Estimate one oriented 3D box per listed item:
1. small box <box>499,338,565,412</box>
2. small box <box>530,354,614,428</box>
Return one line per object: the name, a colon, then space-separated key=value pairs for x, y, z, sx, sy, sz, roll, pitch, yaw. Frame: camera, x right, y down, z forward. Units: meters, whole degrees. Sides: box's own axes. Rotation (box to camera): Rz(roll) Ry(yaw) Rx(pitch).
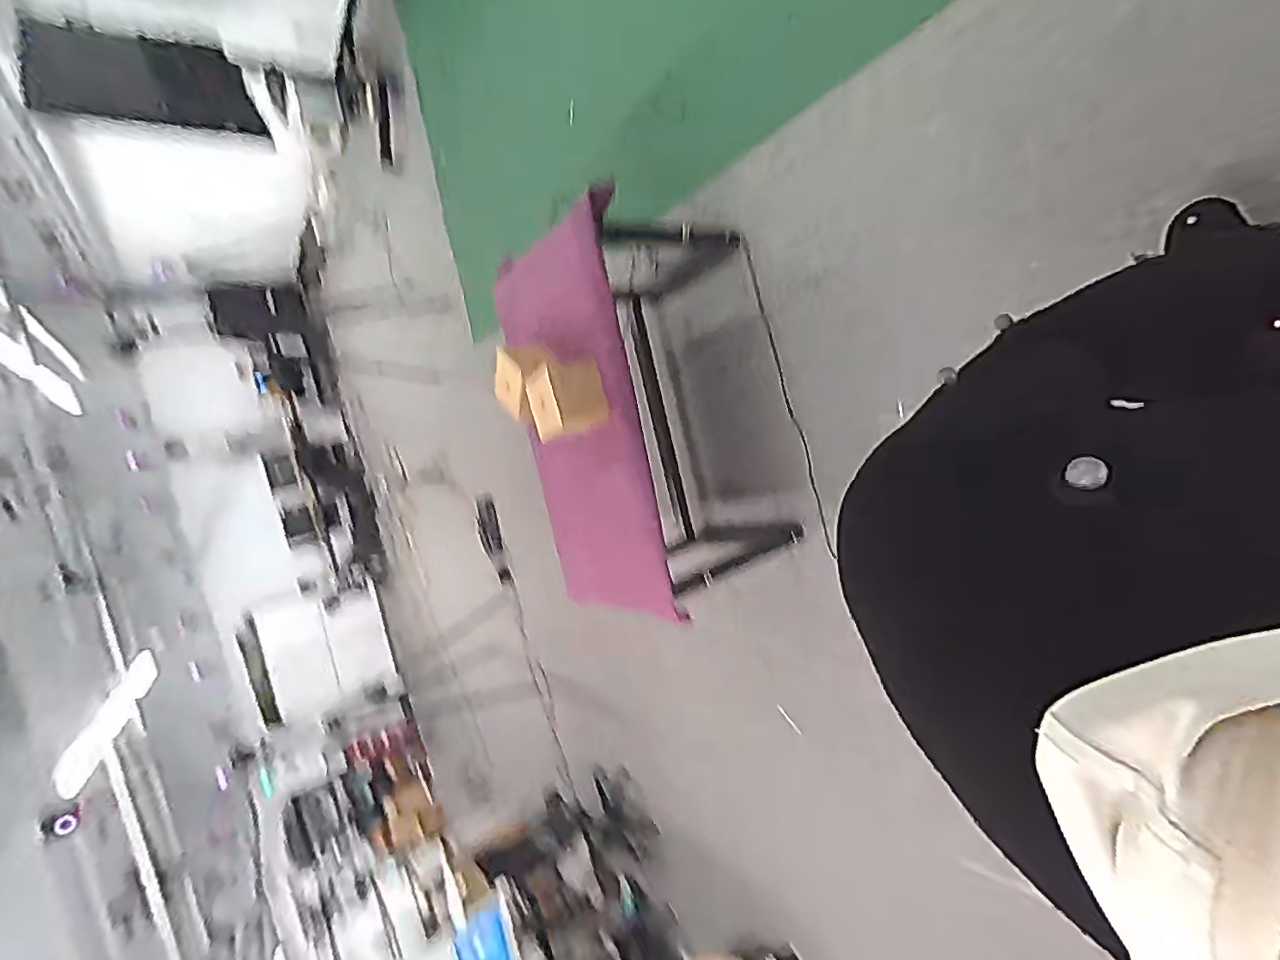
small box: x=-0.346 y=-0.353 z=1.784 sx=0.168 sy=0.176 sz=0.179 roll=46 pitch=137 yaw=32
small box: x=-0.203 y=-0.268 z=1.619 sx=0.168 sy=0.176 sz=0.179 roll=-18 pitch=89 yaw=56
